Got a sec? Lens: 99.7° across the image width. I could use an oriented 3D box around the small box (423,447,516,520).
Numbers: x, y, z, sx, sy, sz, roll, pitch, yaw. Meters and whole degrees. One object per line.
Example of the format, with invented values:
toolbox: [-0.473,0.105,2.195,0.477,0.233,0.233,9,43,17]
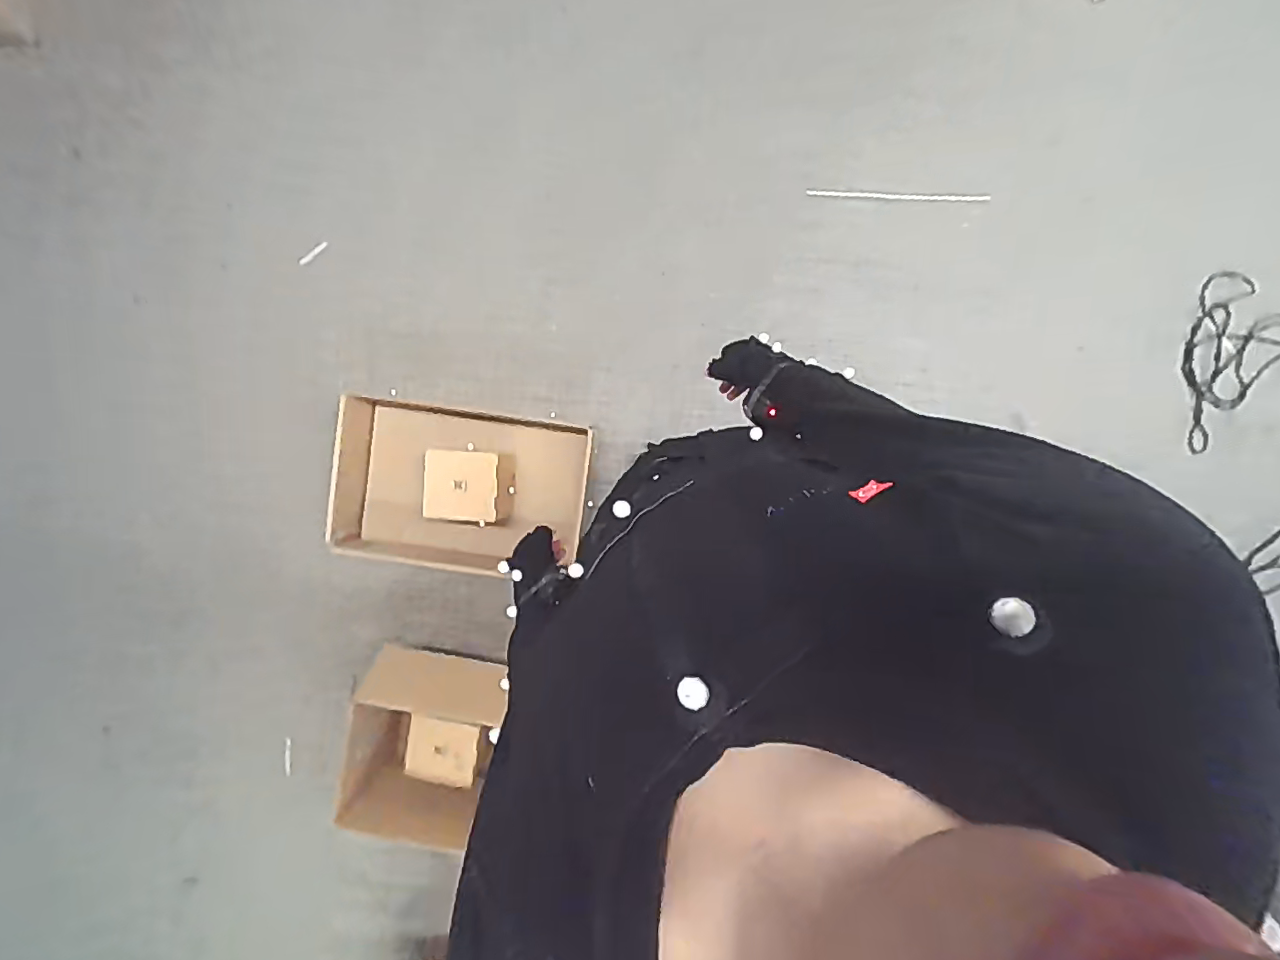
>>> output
small box: [-0.422,0.006,1.354,0.179,0.176,0.168,3,93,1]
